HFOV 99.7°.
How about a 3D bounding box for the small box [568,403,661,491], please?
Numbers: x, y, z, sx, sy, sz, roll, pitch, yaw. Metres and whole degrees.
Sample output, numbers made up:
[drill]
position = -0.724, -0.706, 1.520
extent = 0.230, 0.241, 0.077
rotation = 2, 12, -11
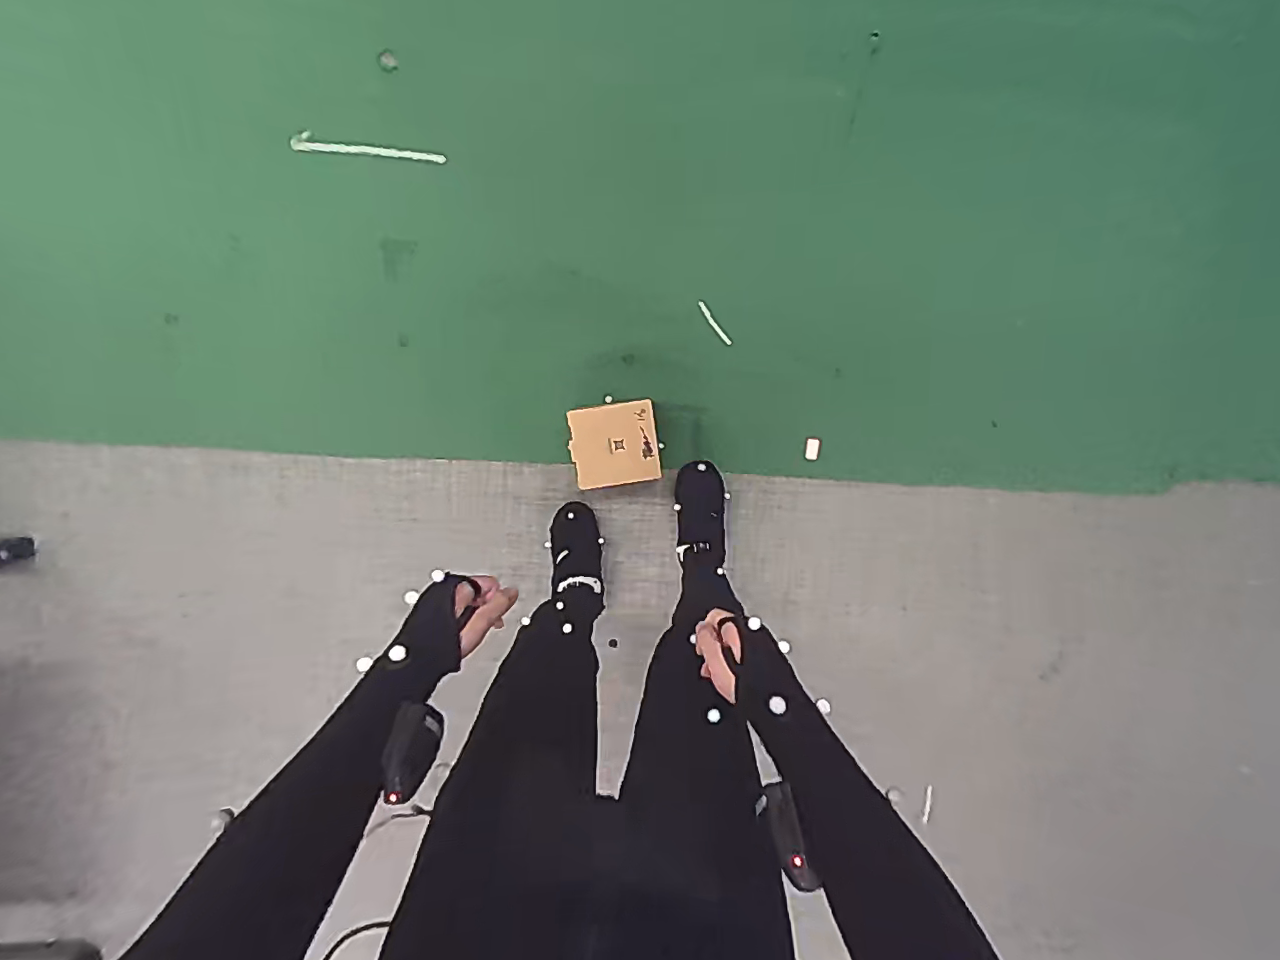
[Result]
[small box]
position = -0.053, -0.077, 1.184
extent = 0.179, 0.176, 0.168
rotation = -8, 99, -1
